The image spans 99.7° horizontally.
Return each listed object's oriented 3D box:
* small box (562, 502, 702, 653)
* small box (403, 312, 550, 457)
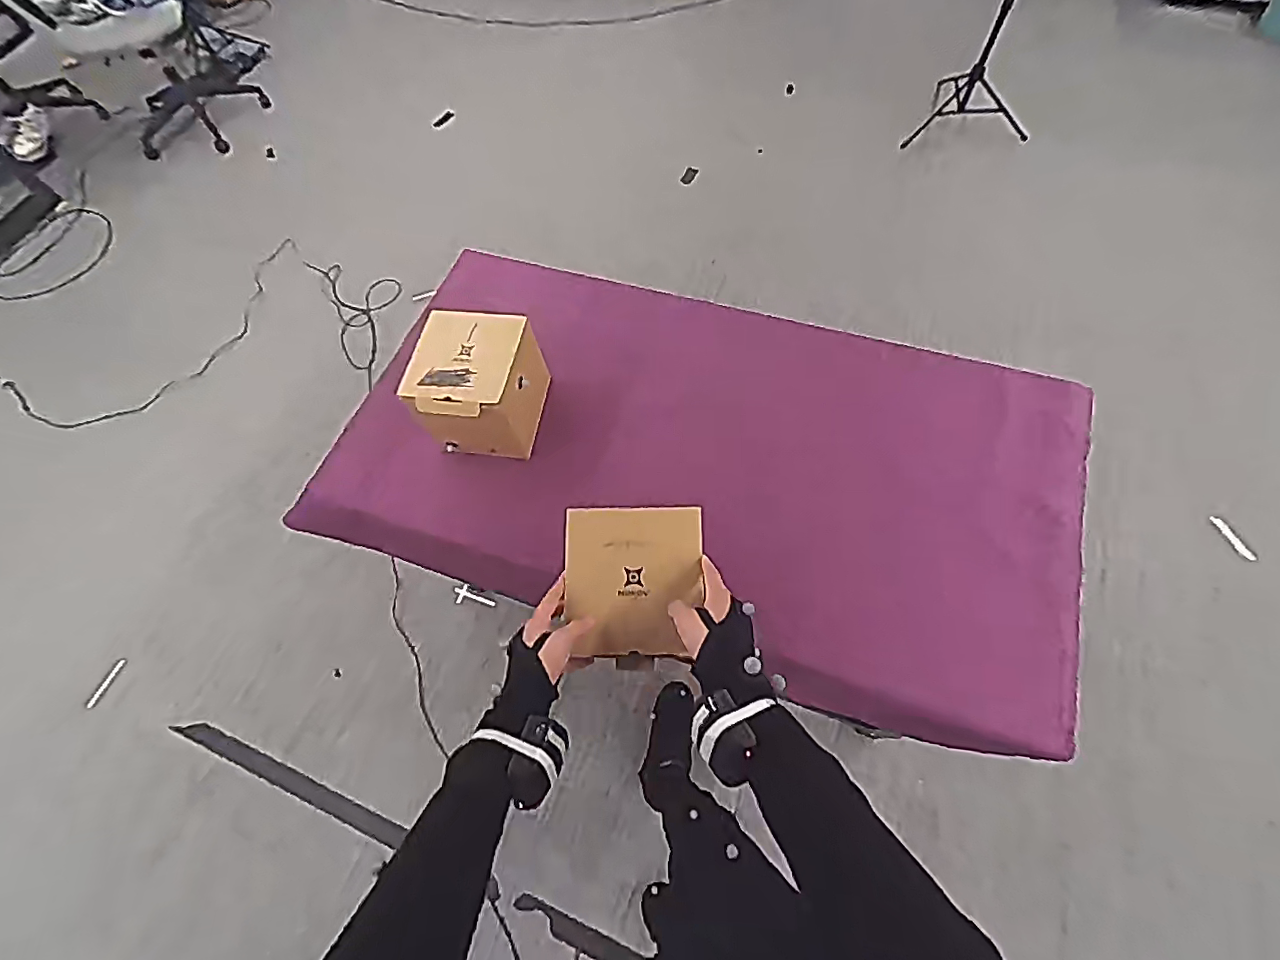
[{"bbox_3d":[-0.005,0.132,0.721,0.168,0.176,0.179,1,76,1],"label":"small box"},{"bbox_3d":[-0.261,-0.155,0.914,0.168,0.176,0.179,7,64,7],"label":"small box"}]
